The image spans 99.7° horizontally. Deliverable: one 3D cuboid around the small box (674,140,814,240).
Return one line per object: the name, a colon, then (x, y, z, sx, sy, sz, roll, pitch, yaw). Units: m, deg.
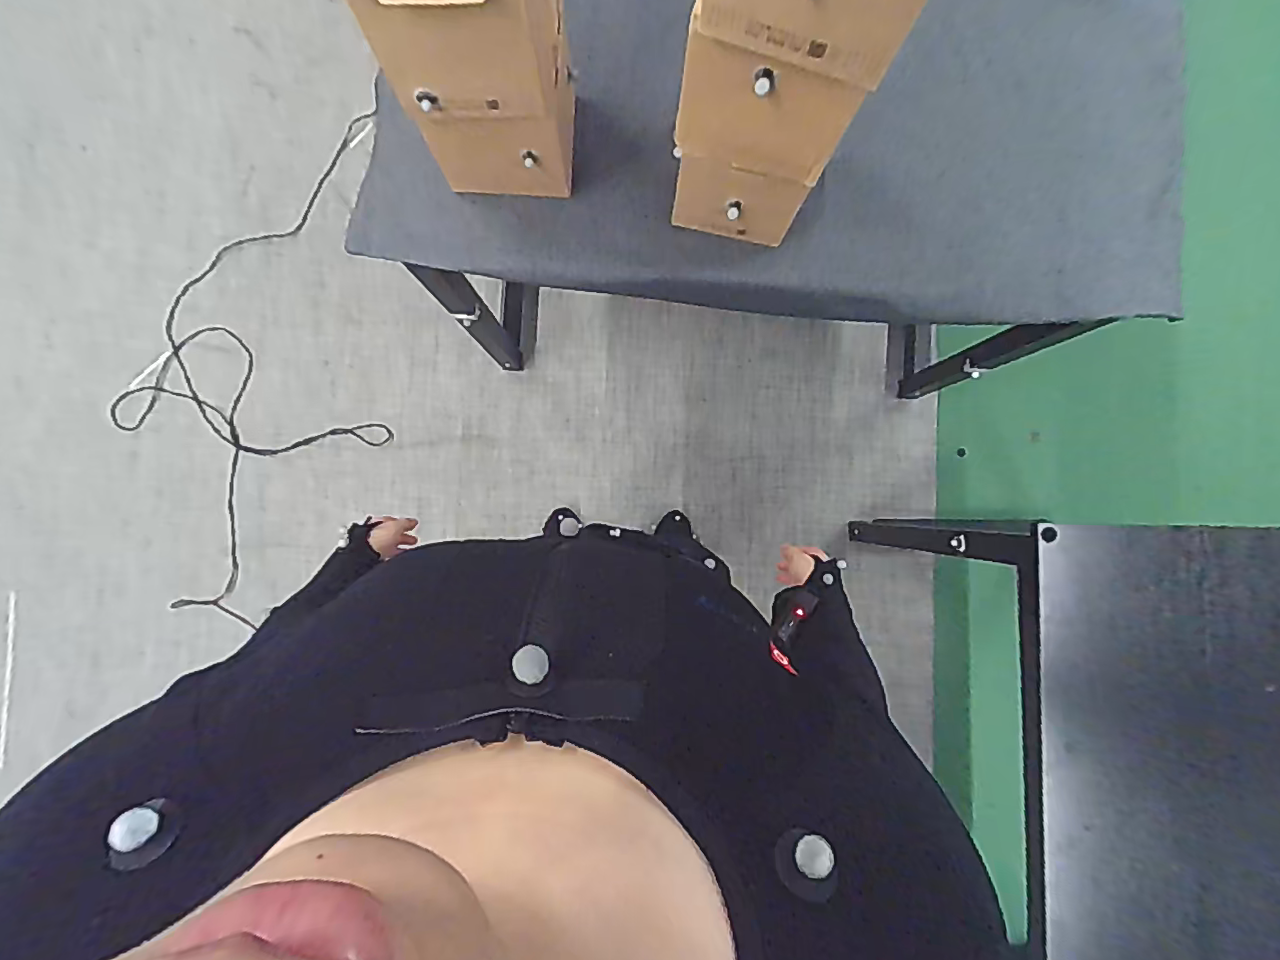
small box: (0.142, -0.451, 0.721, 0.168, 0.176, 0.179, 12, 87, 1)

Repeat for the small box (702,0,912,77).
small box: (0.148, -0.449, 0.391, 0.168, 0.176, 0.179, 18, 86, 1)

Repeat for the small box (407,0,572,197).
small box: (-0.187, -0.504, 0.722, 0.179, 0.176, 0.168, 1, 85, 0)

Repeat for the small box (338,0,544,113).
small box: (-0.194, -0.514, 0.557, 0.168, 0.176, 0.179, -3, 84, -1)

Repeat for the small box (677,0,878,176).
small box: (0.146, -0.452, 0.557, 0.179, 0.176, 0.168, 17, 86, 1)
